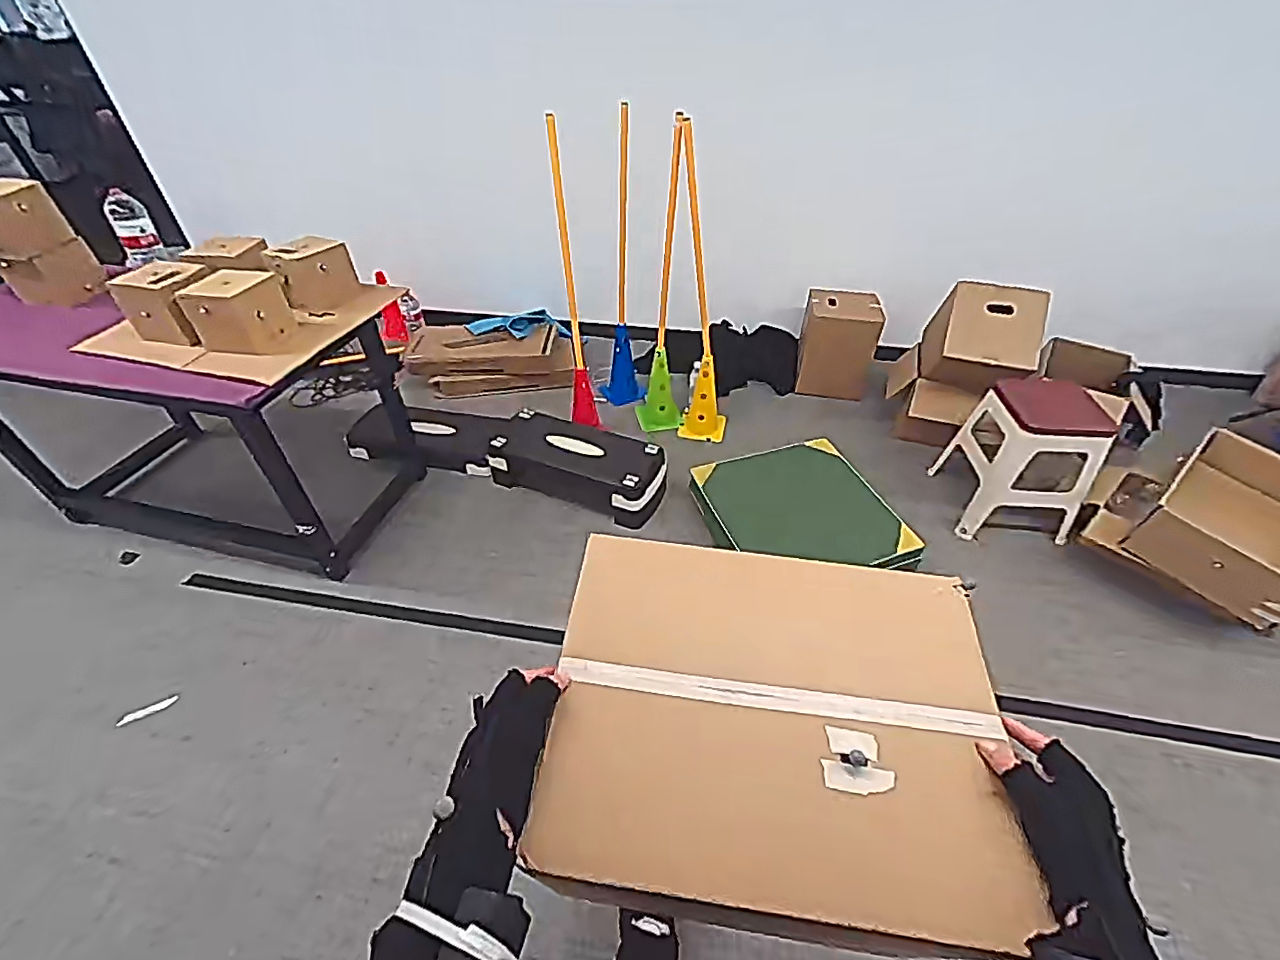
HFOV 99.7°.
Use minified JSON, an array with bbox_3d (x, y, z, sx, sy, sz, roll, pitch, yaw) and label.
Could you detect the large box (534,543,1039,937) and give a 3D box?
[{"bbox_3d":[0.123,0.303,0.631,0.408,0.320,0.320,6,51,5],"label":"large box"}]
